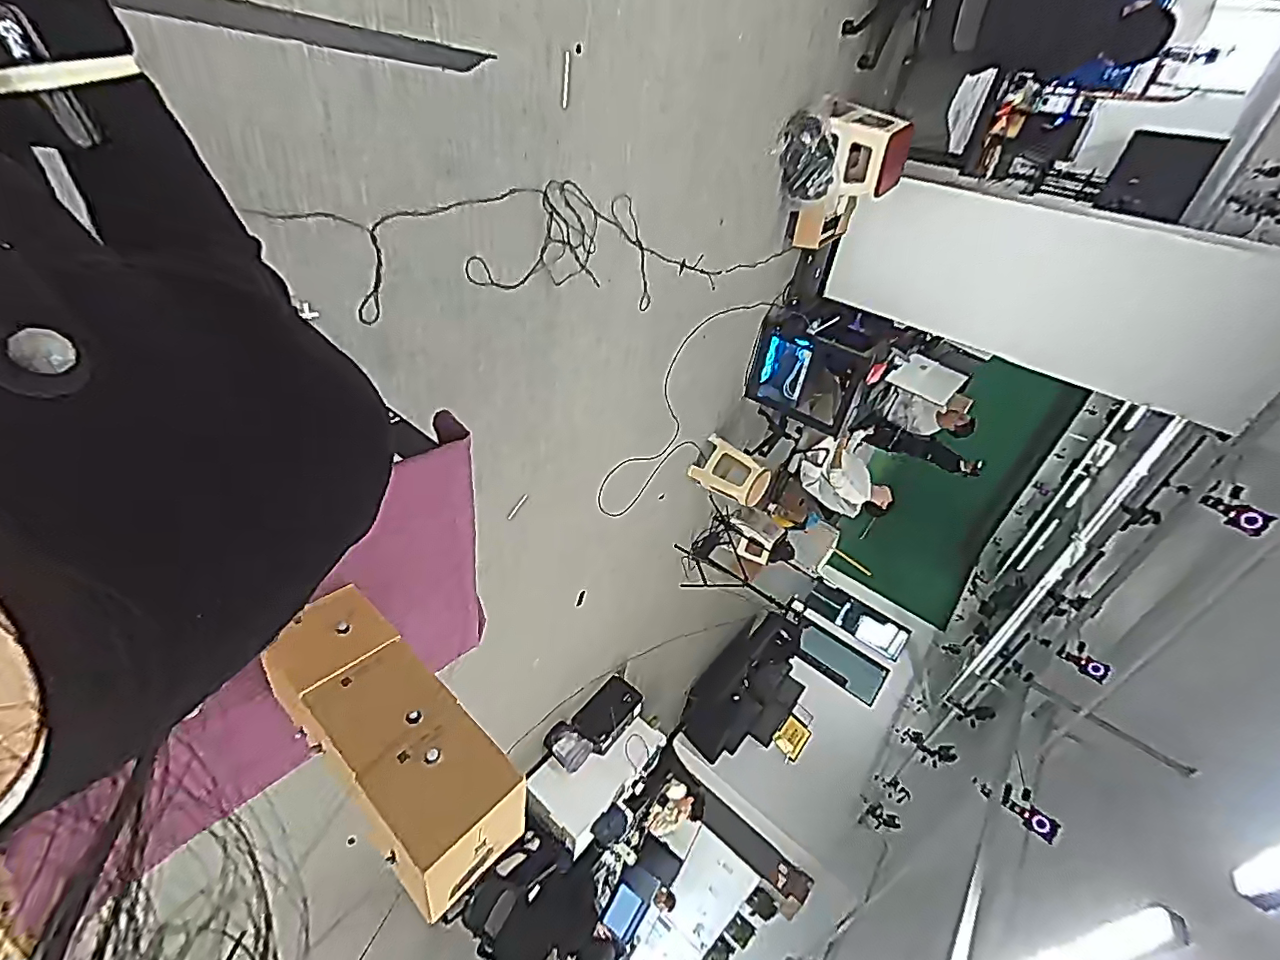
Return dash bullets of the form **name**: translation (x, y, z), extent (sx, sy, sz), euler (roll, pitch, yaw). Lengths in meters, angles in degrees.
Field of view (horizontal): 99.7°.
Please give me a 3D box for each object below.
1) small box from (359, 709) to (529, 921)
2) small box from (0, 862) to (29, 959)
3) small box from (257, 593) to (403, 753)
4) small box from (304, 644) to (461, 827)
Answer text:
- **small box**: translation (-0.285, 0.480, 0.796), extent (0.168, 0.176, 0.179), euler (-29, 141, -44)
- **small box**: translation (-0.851, 0.522, 0.610), extent (0.168, 0.176, 0.179), euler (-26, 139, -48)
- **small box**: translation (-0.533, 0.323, 0.946), extent (0.168, 0.176, 0.179), euler (-30, 141, -44)
- **small box**: translation (-0.409, 0.404, 0.875), extent (0.168, 0.176, 0.179), euler (-30, 143, -43)
